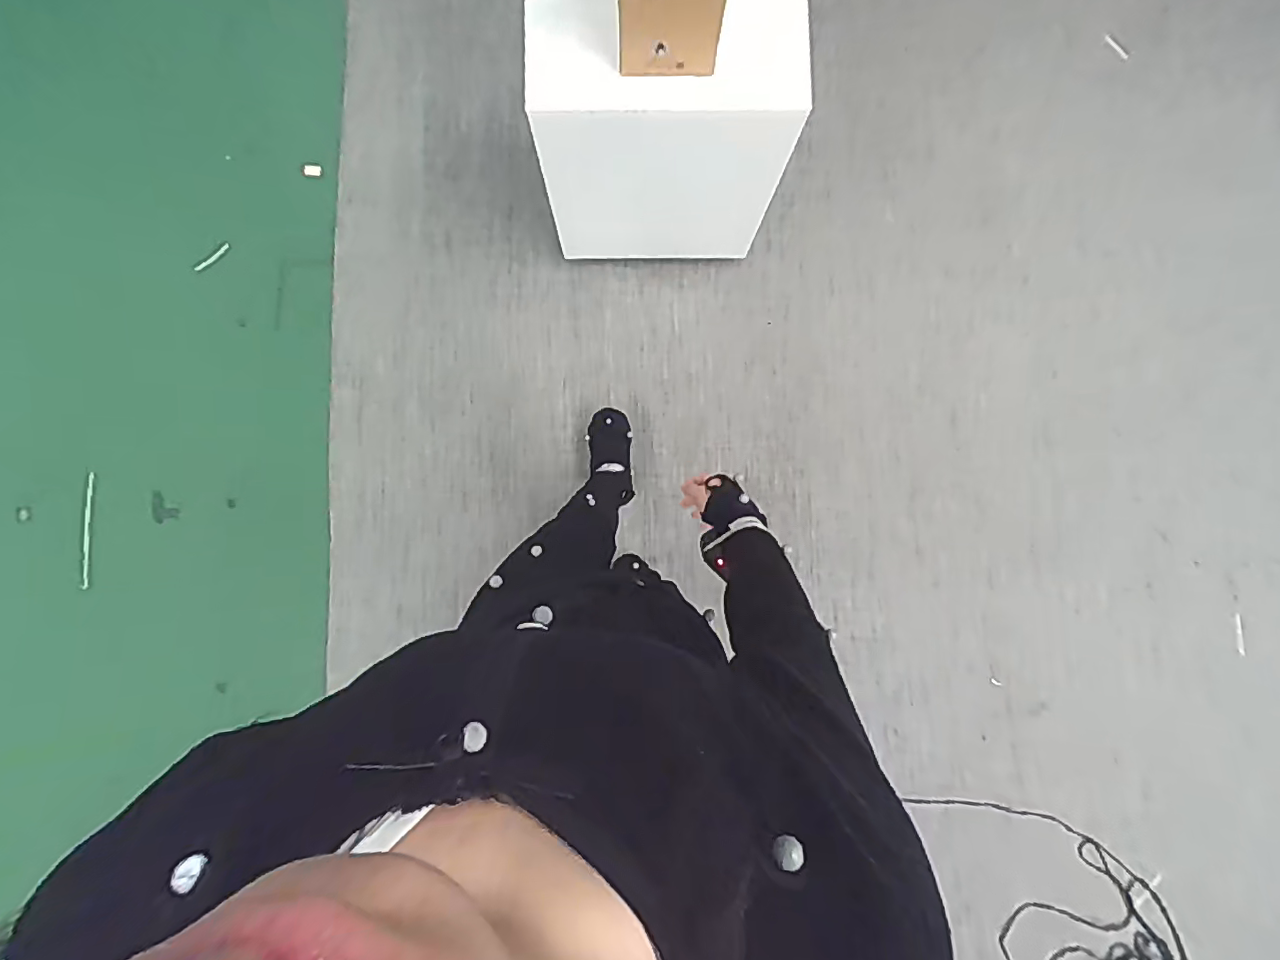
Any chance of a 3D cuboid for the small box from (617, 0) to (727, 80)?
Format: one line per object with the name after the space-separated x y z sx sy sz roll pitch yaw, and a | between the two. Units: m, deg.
0.046 -0.795 0.872 0.168 0.176 0.179 -1 85 -1 | small box
